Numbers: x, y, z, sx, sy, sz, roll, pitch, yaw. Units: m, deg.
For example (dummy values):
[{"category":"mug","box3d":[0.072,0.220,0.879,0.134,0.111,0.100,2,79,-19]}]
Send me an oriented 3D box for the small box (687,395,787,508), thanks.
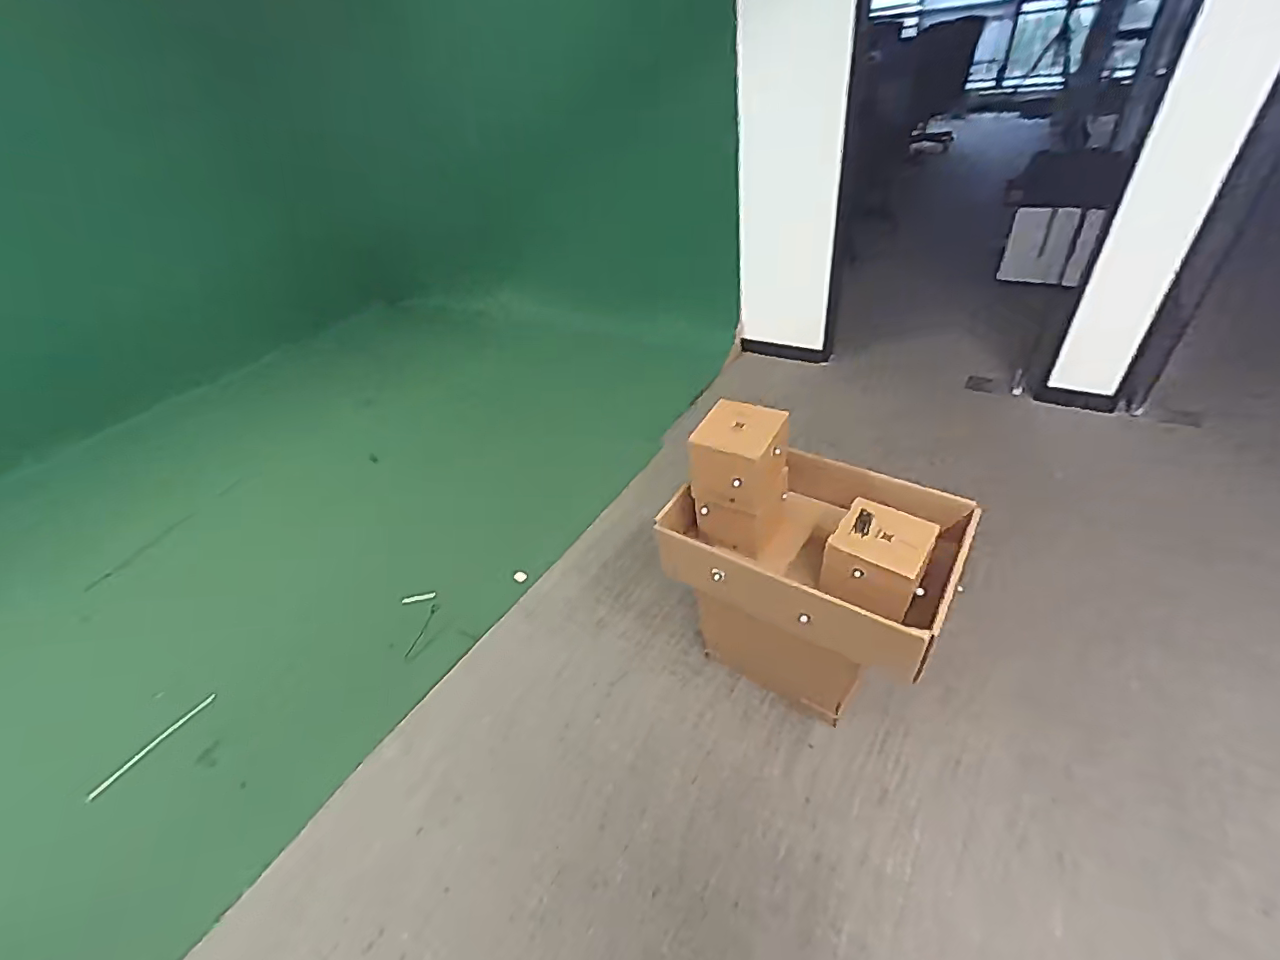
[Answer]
[{"category":"small box","box3d":[0.222,-0.064,1.220,0.168,0.176,0.179,17,47,27]}]
